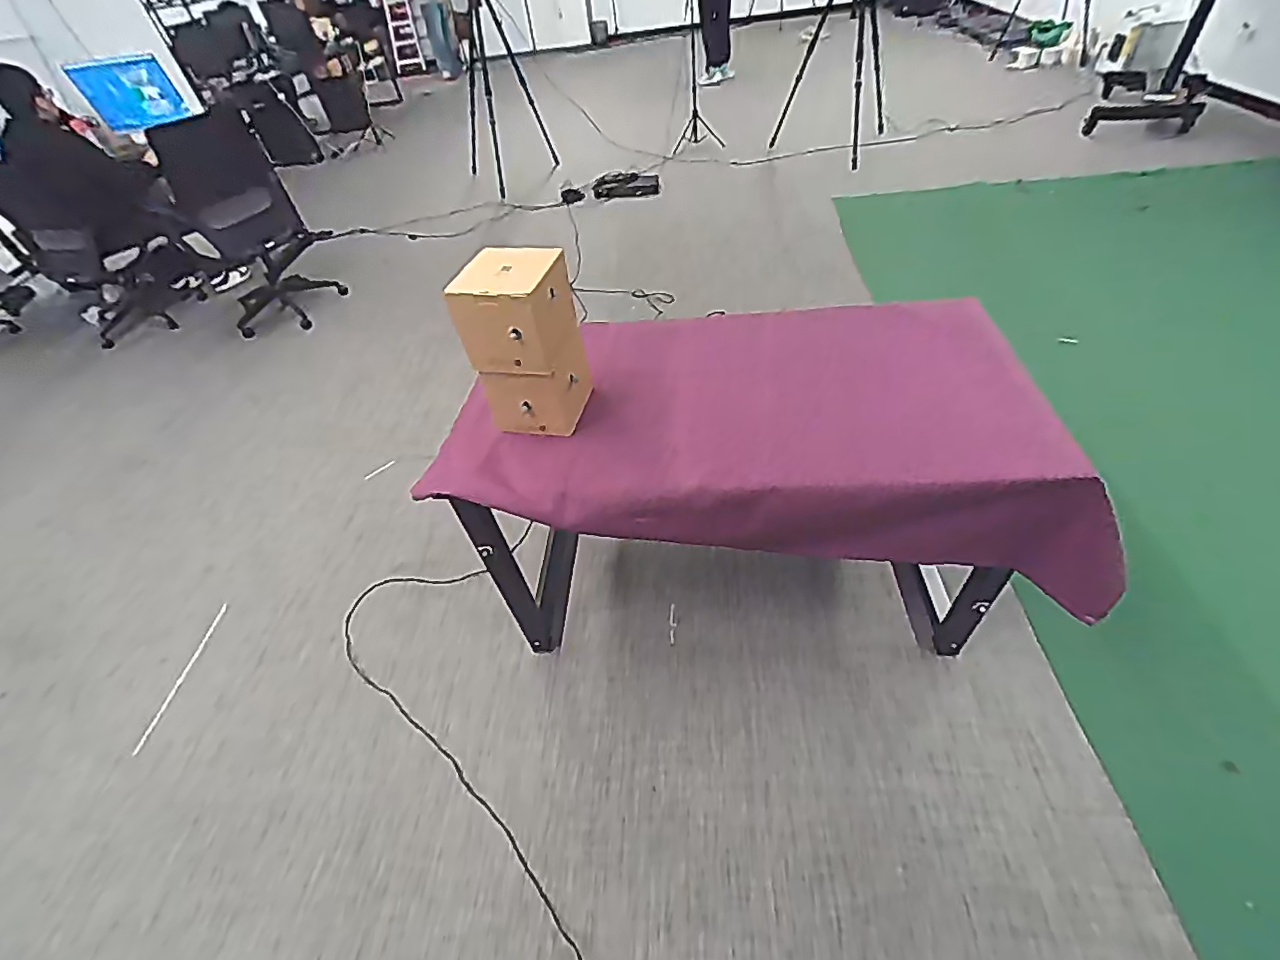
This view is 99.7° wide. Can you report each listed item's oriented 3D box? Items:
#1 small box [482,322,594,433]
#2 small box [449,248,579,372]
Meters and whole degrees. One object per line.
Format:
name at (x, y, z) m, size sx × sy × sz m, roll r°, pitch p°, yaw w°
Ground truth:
small box at (-0.205, -0.219, 1.157) m, size 0.168 × 0.176 × 0.179 m, roll 6°, pitch 49°, yaw 13°
small box at (-0.227, -0.323, 1.032) m, size 0.168 × 0.176 × 0.179 m, roll 7°, pitch 48°, yaw 14°
